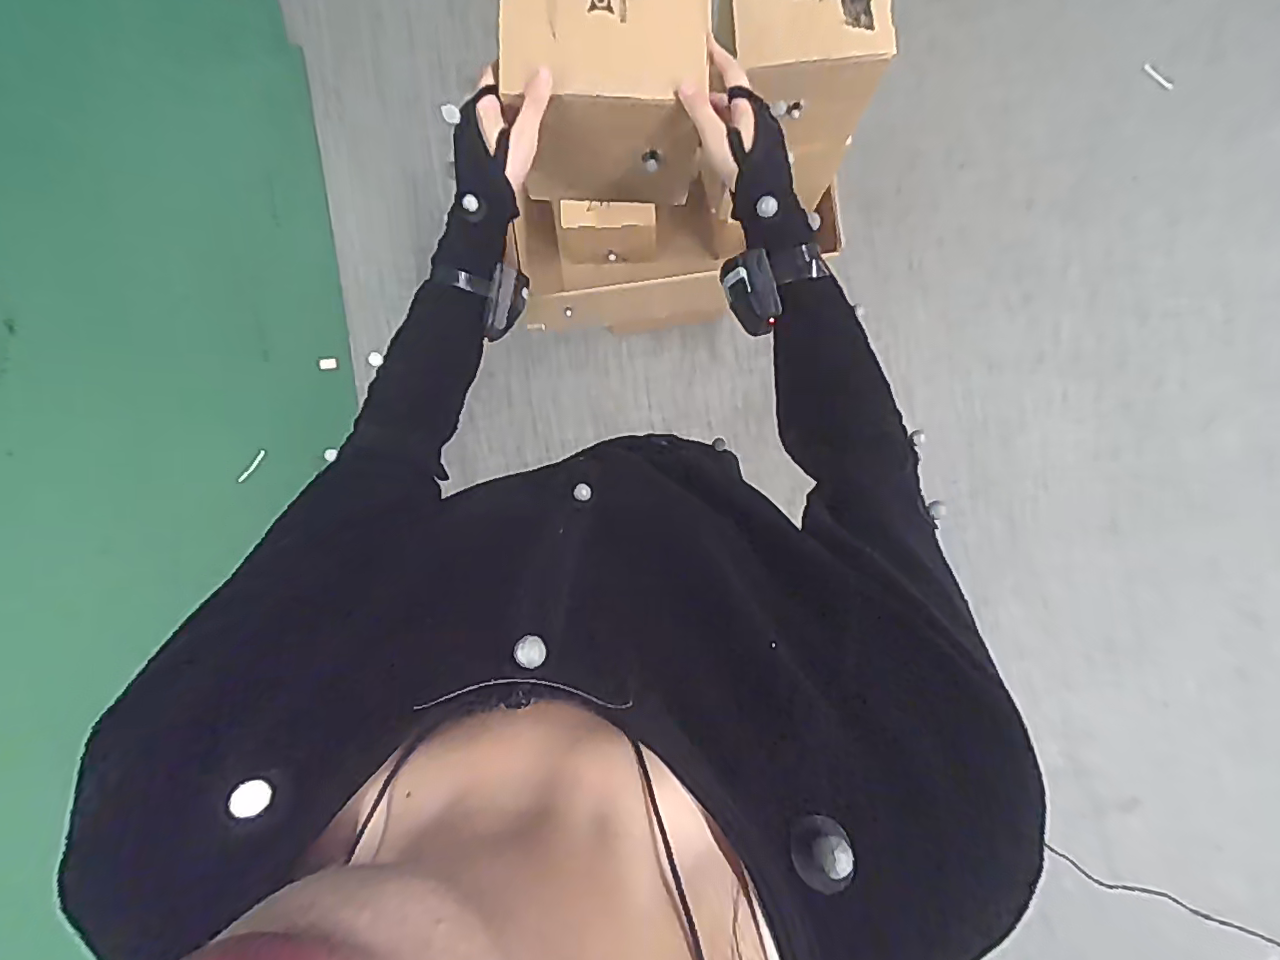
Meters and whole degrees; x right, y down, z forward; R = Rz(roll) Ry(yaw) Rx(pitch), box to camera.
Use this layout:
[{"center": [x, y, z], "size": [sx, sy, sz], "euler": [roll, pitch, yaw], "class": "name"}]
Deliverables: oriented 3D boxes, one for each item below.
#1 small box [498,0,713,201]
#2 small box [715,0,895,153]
[{"center": [-0.030, -0.393, 0.522], "size": [0.179, 0.176, 0.168], "euler": [1, 89, -2], "class": "small box"}, {"center": [0.191, -0.538, 0.669], "size": [0.179, 0.176, 0.168], "euler": [-4, 91, 4], "class": "small box"}]
